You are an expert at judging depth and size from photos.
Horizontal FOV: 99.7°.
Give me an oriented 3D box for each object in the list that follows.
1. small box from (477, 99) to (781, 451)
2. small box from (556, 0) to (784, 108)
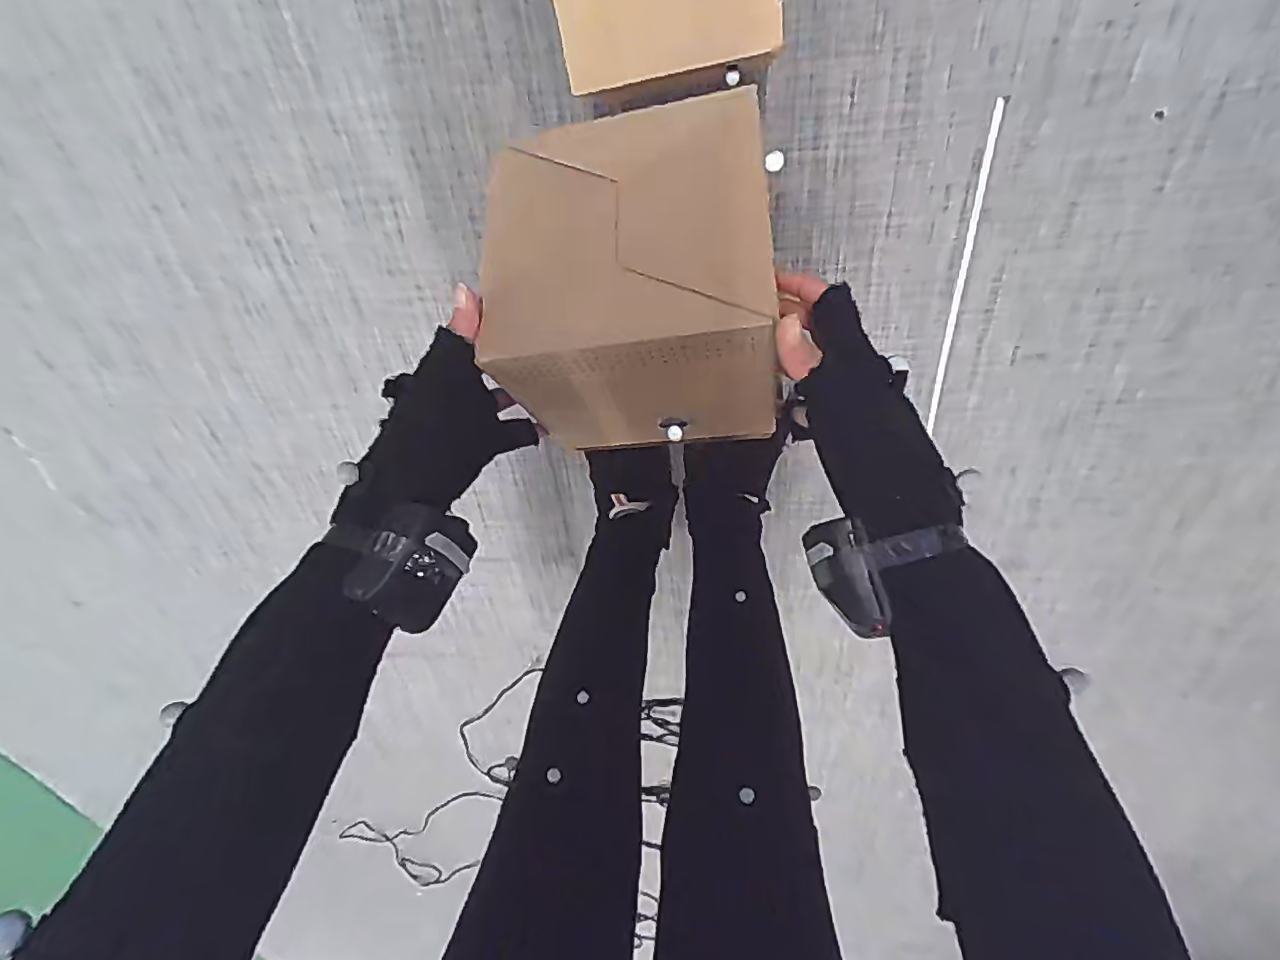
[{"bbox_3d":[0.006,-0.129,0.390,0.179,0.168,0.176,-3,164,11],"label":"small box"},{"bbox_3d":[0.026,-0.438,0.468,0.179,0.176,0.168,-6,122,11],"label":"small box"}]
